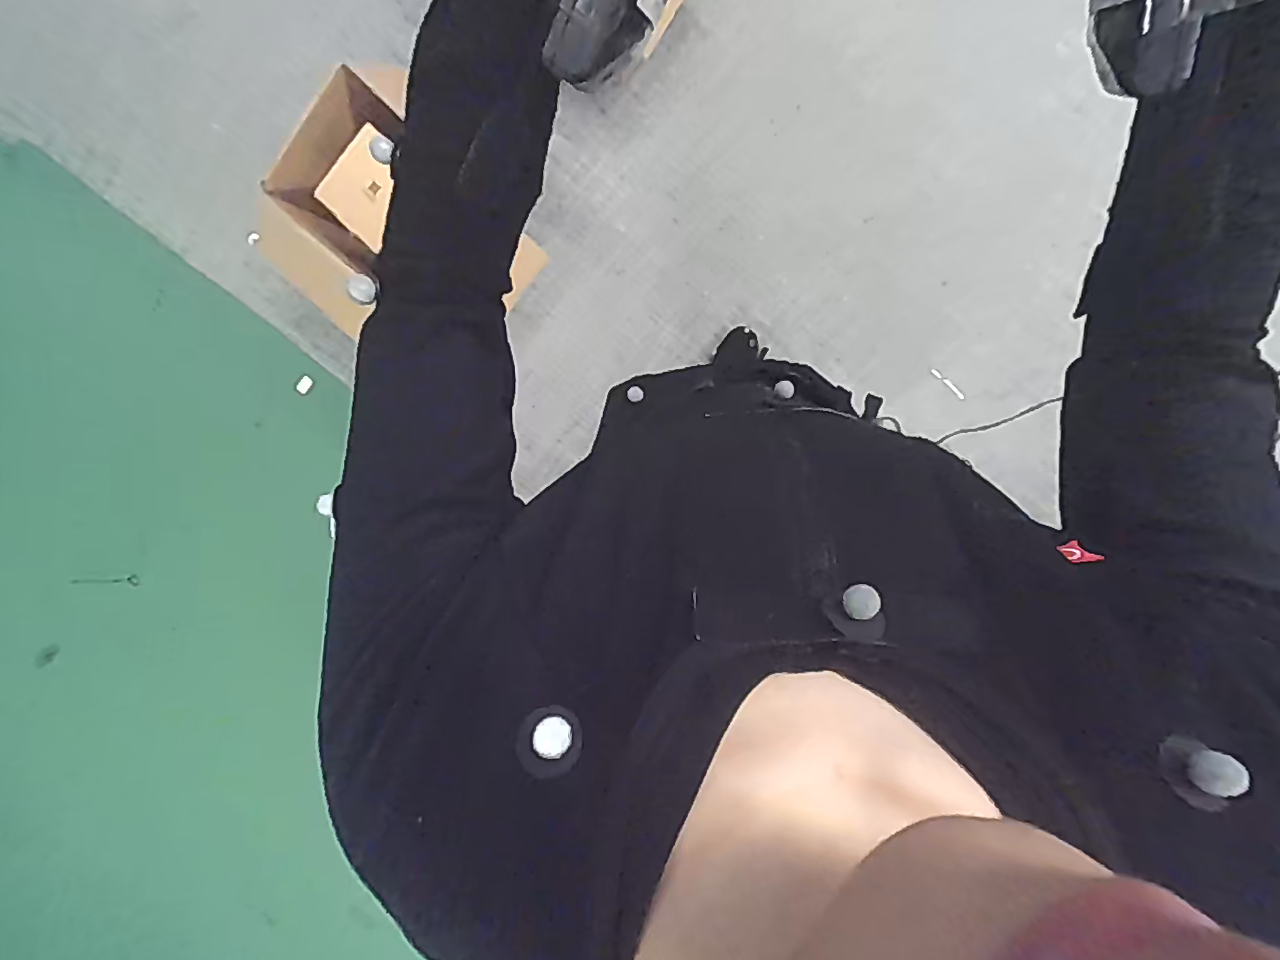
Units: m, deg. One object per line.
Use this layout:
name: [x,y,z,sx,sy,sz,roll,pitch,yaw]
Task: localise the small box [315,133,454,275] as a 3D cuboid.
small box: [-0.513,-0.559,1.122,0.168,0.176,0.179,43,98,-5]
